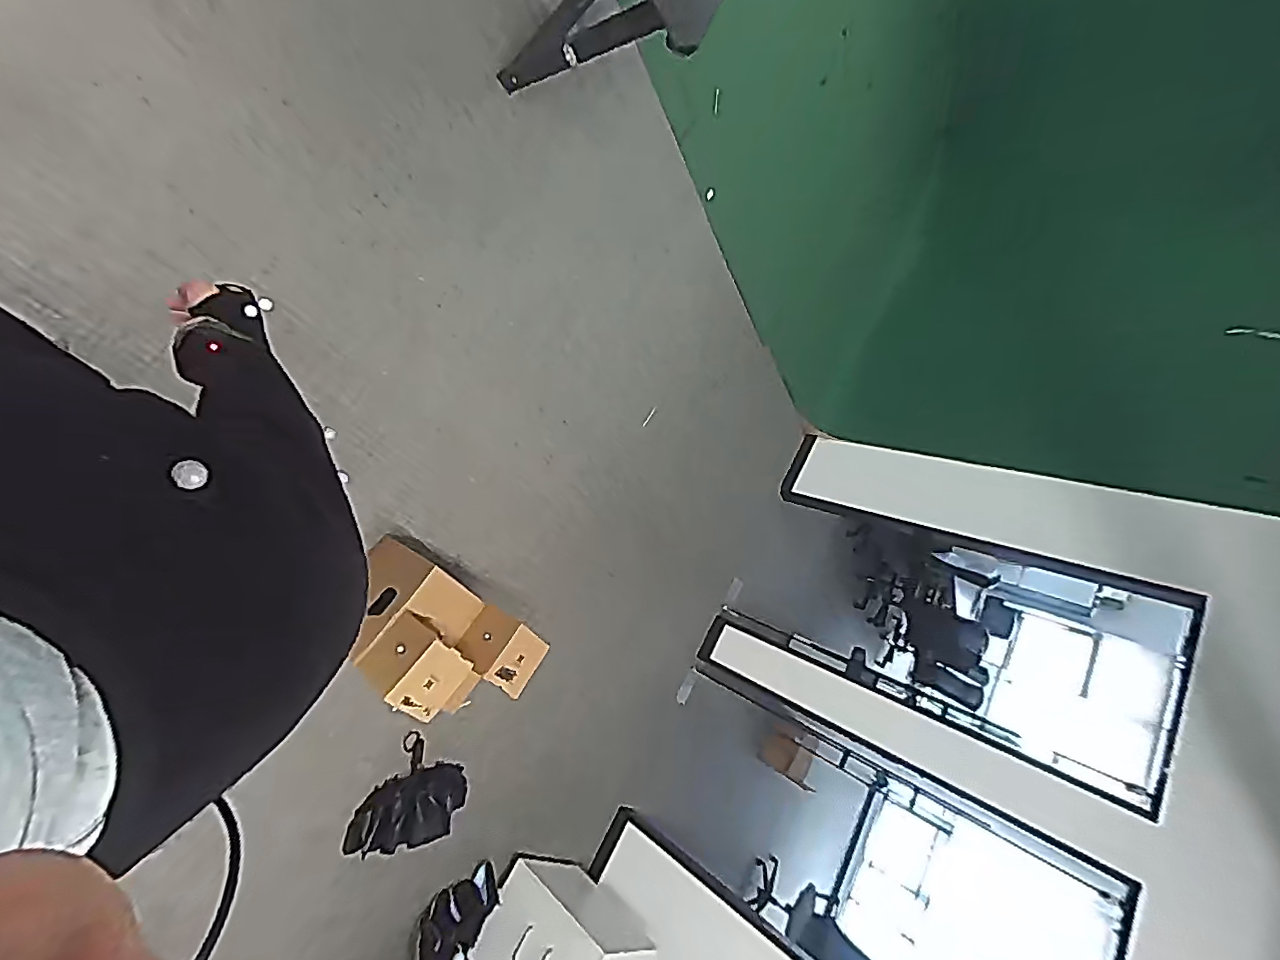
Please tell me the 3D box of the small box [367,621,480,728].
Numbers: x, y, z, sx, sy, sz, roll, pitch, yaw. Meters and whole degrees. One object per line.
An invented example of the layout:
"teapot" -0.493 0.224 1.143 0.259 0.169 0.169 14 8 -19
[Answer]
"small box" -0.556 0.491 1.384 0.179 0.176 0.168 -54 138 -23

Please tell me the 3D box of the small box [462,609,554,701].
"small box" -0.393 0.511 1.589 0.179 0.176 0.168 -58 138 -26
